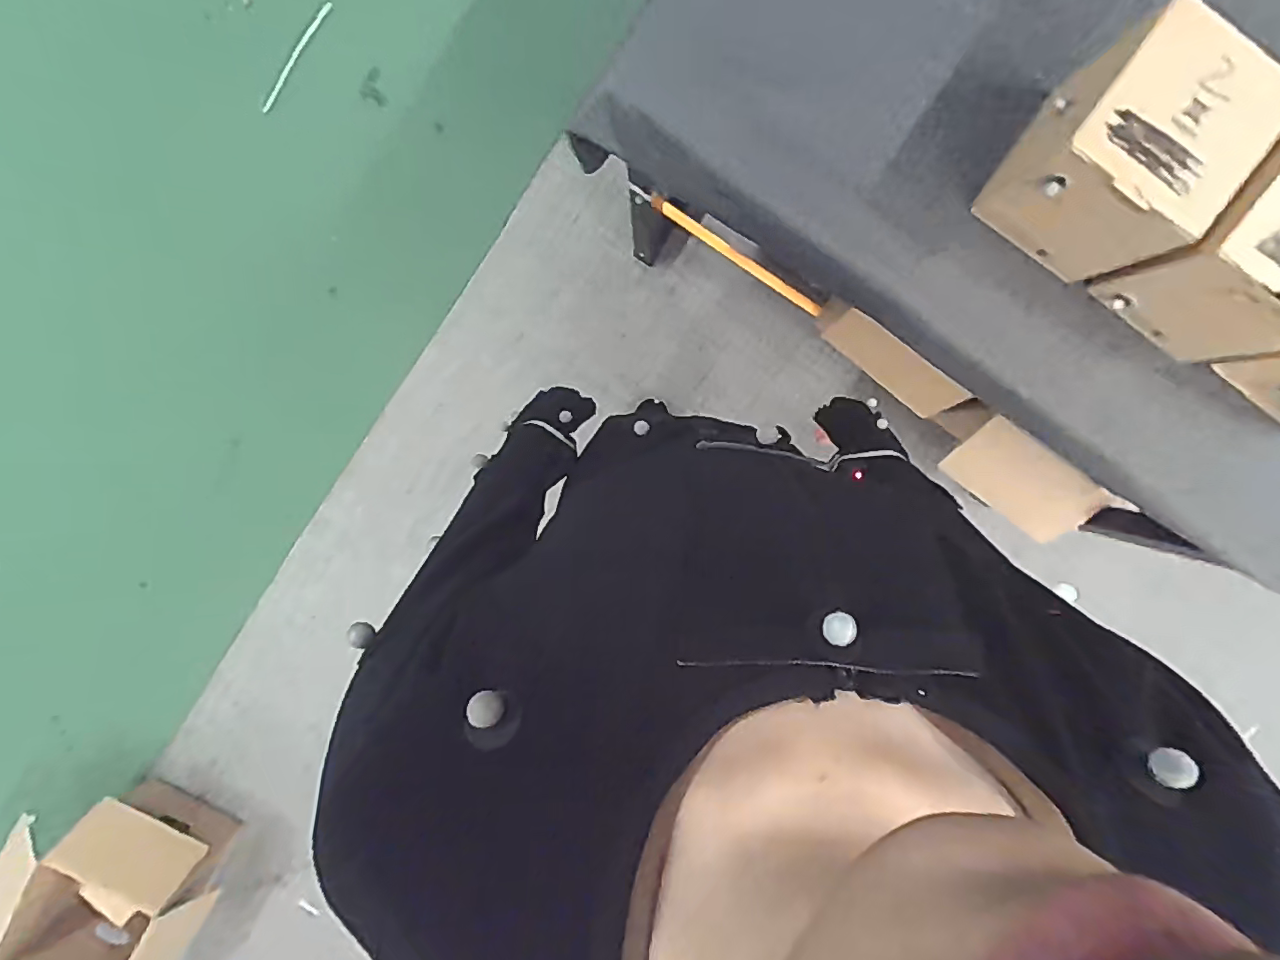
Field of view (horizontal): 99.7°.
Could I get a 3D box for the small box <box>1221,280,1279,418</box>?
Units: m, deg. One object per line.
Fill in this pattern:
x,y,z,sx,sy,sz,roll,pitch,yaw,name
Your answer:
0.869,-0.171,0.631,0.168,0.176,0.179,35,96,-4,small box
